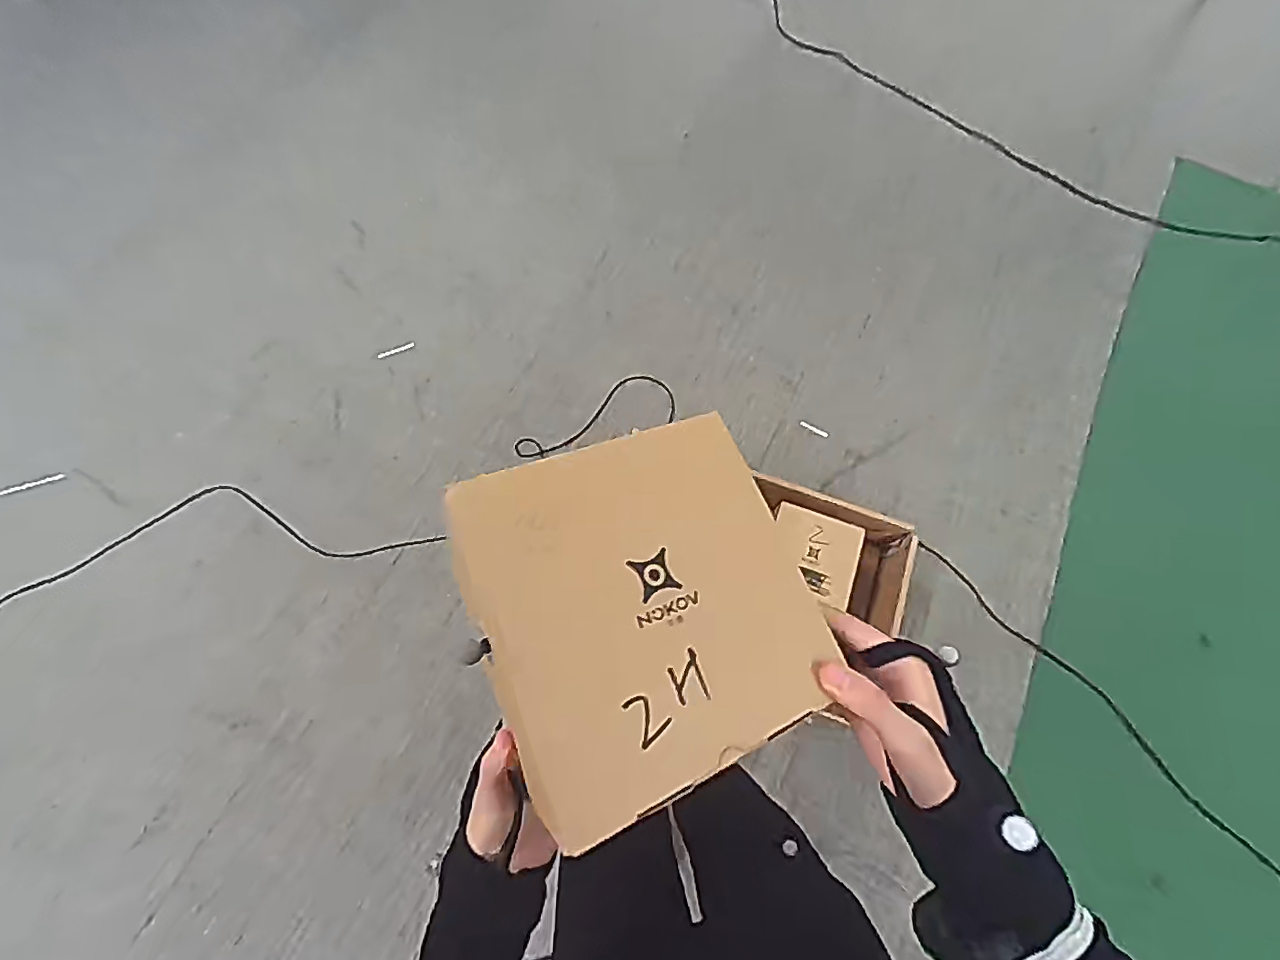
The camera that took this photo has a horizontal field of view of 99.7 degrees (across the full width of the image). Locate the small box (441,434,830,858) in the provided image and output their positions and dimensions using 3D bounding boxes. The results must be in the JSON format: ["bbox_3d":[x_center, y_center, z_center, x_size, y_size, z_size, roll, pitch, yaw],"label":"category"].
[{"bbox_3d":[-0.022,0.098,0.355,0.168,0.176,0.179,-18,74,-22],"label":"small box"}]
